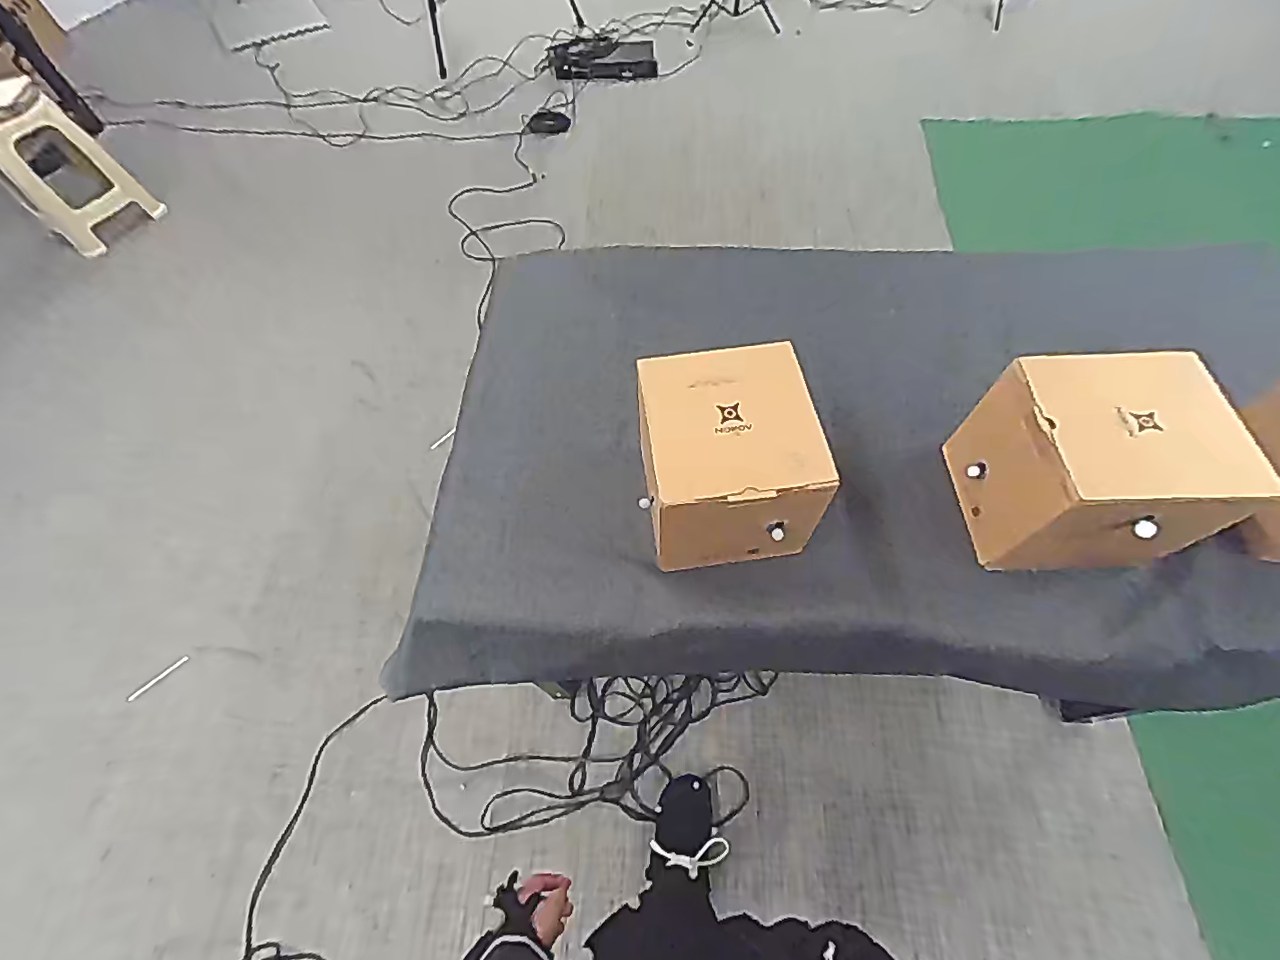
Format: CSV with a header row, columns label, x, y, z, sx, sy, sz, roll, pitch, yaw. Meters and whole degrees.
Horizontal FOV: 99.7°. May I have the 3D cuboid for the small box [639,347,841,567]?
label,x,y,z,sx,sy,sz,roll,pitch,yaw
small box,0.093,-0.016,0.590,0.168,0.176,0.179,-7,58,-3

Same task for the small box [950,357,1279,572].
label,x,y,z,sx,sy,sz,roll,pitch,yaw
small box,0.467,-0.009,0.566,0.179,0.176,0.168,-2,60,3
